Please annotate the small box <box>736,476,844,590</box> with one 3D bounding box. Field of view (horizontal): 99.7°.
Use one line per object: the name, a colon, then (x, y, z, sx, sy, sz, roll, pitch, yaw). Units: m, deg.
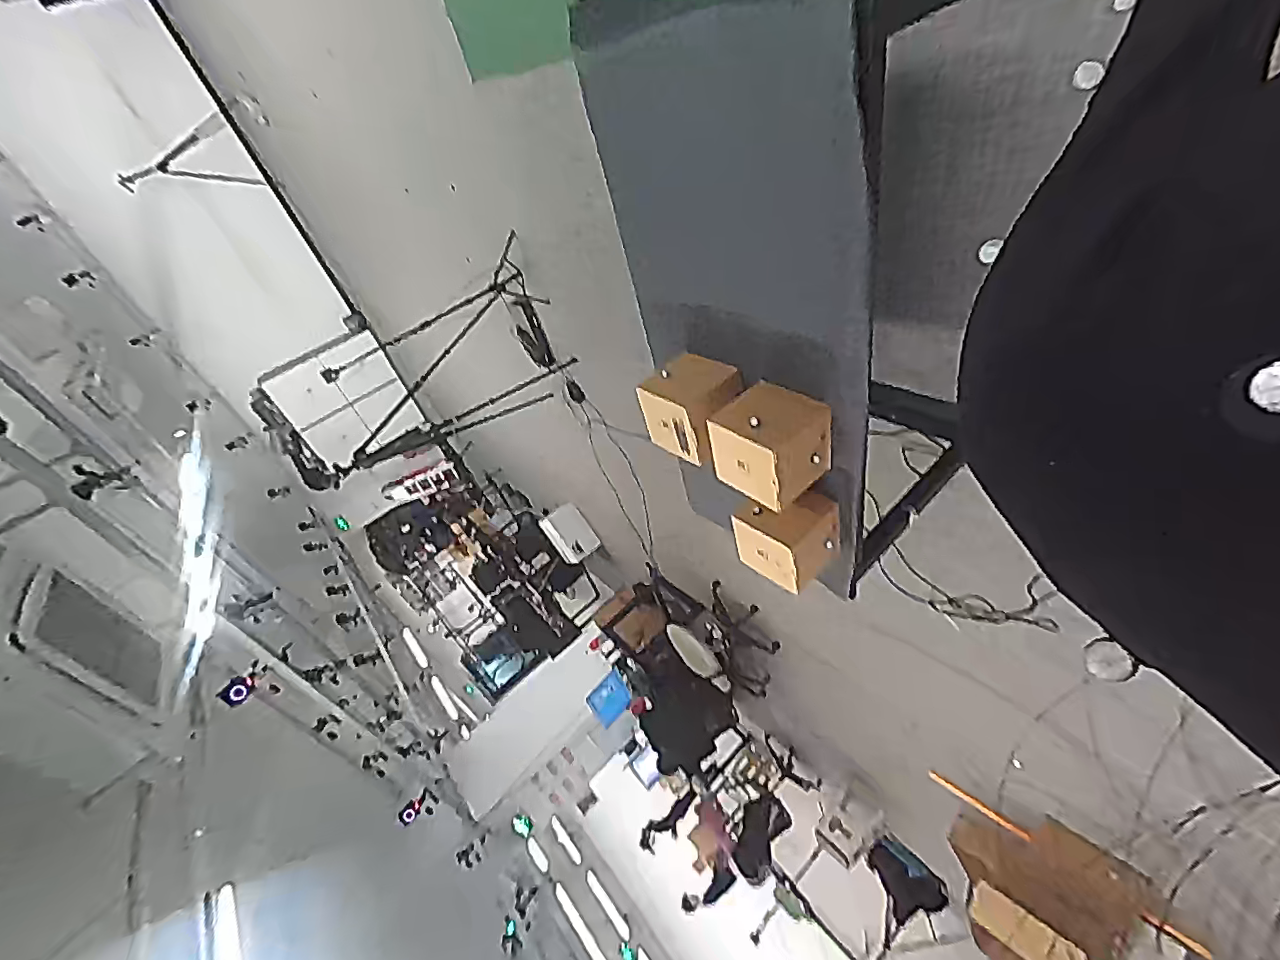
small box: (0.354, 0.115, 1.267, 0.179, 0.176, 0.168, 30, 150, 43)
